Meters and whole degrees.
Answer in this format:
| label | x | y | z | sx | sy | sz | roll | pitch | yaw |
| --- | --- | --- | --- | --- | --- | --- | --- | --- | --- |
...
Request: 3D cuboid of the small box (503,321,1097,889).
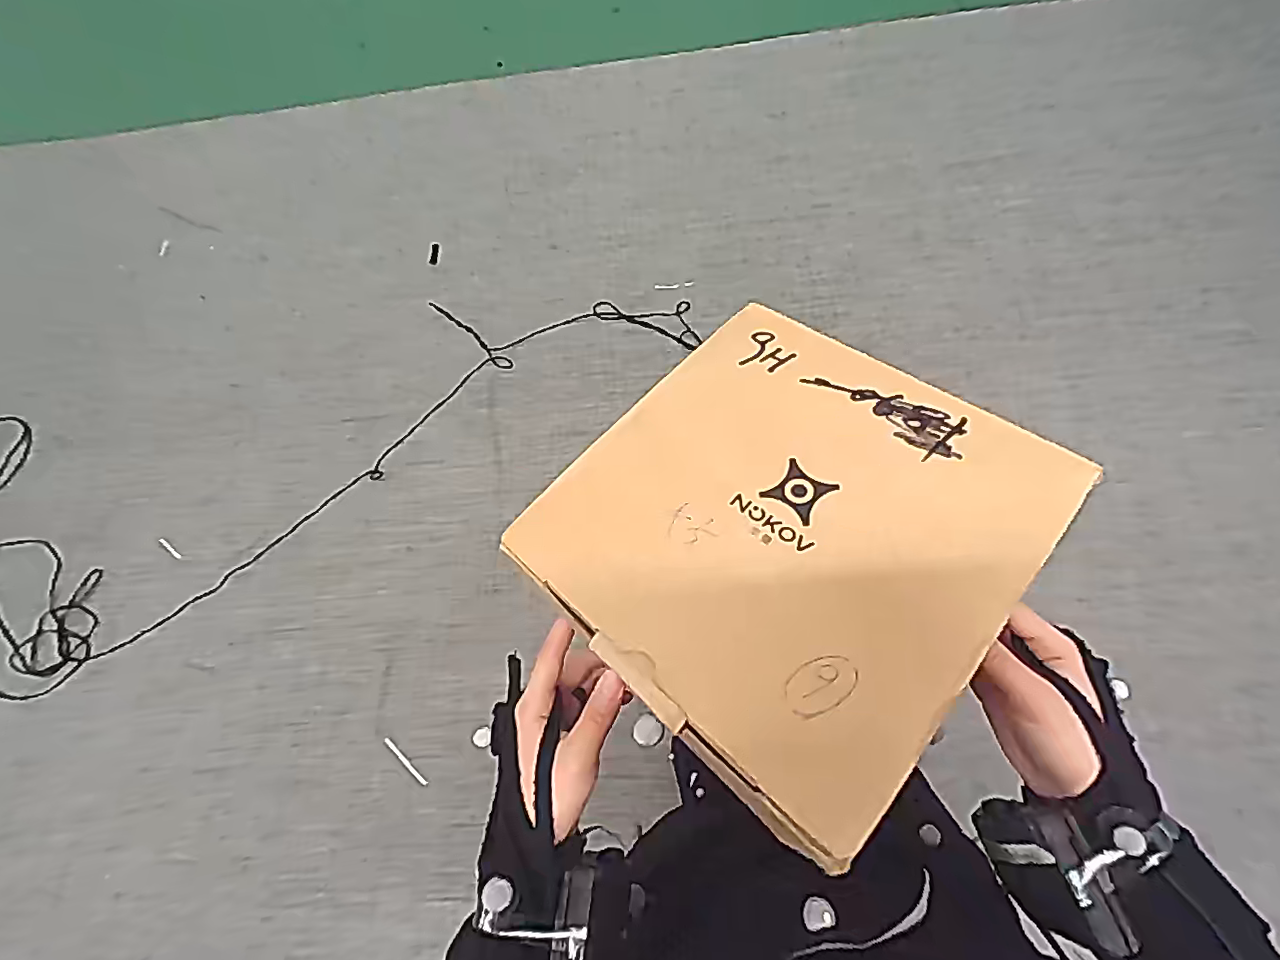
| label | x | y | z | sx | sy | sz | roll | pitch | yaw |
| --- | --- | --- | --- | --- | --- | --- | --- | --- | --- |
| small box | 0.069 | 0.060 | 0.281 | 0.168 | 0.176 | 0.179 | 37 | 71 | 28 |
